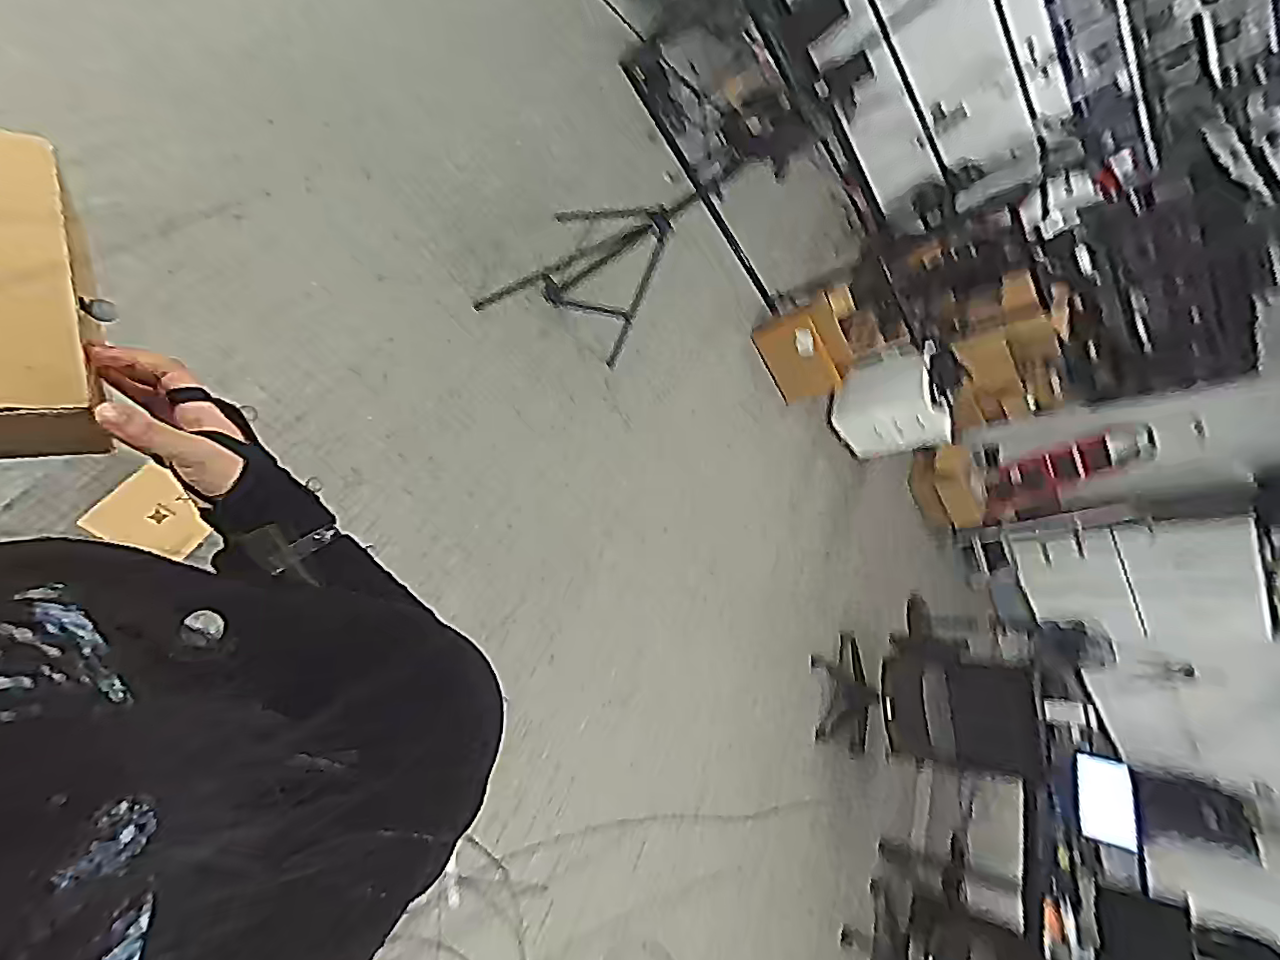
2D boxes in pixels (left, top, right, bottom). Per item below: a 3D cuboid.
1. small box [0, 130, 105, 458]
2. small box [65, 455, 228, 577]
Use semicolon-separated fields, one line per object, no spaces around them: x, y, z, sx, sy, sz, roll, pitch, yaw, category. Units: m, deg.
-0.471;-0.110;0.343;0.168;0.176;0.179;-10;91;-41;small box
-0.982;0.080;1.086;0.168;0.176;0.179;48;50;-27;small box
